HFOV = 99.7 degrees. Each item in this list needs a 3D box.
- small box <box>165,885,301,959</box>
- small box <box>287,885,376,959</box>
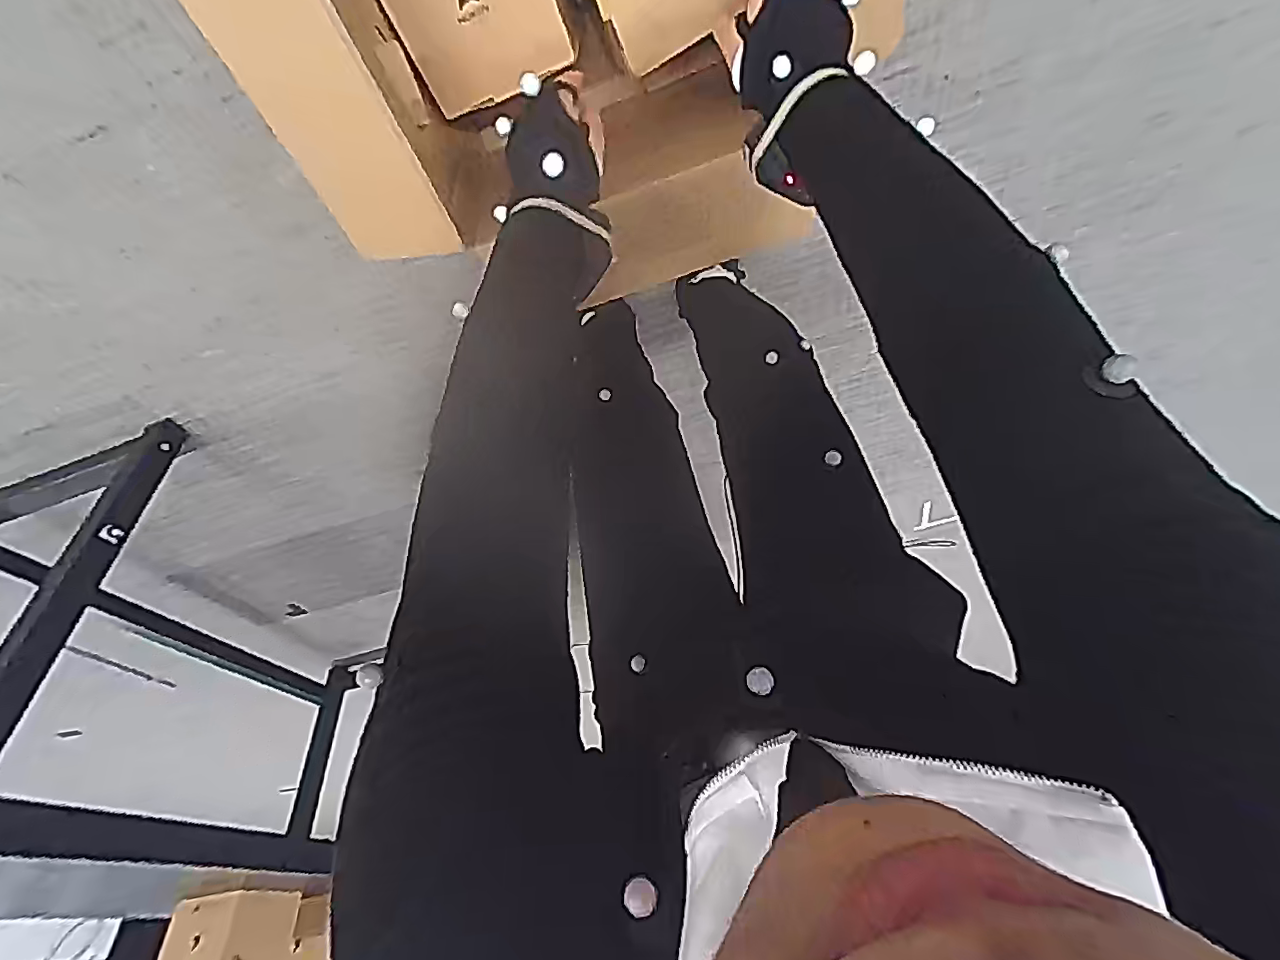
[{"bbox_3d":[-0.887,0.995,1.175,0.168,0.176,0.179,-16,139,10],"label":"small box"},{"bbox_3d":[-0.808,1.152,1.375,0.179,0.176,0.168,-18,139,10],"label":"small box"}]
